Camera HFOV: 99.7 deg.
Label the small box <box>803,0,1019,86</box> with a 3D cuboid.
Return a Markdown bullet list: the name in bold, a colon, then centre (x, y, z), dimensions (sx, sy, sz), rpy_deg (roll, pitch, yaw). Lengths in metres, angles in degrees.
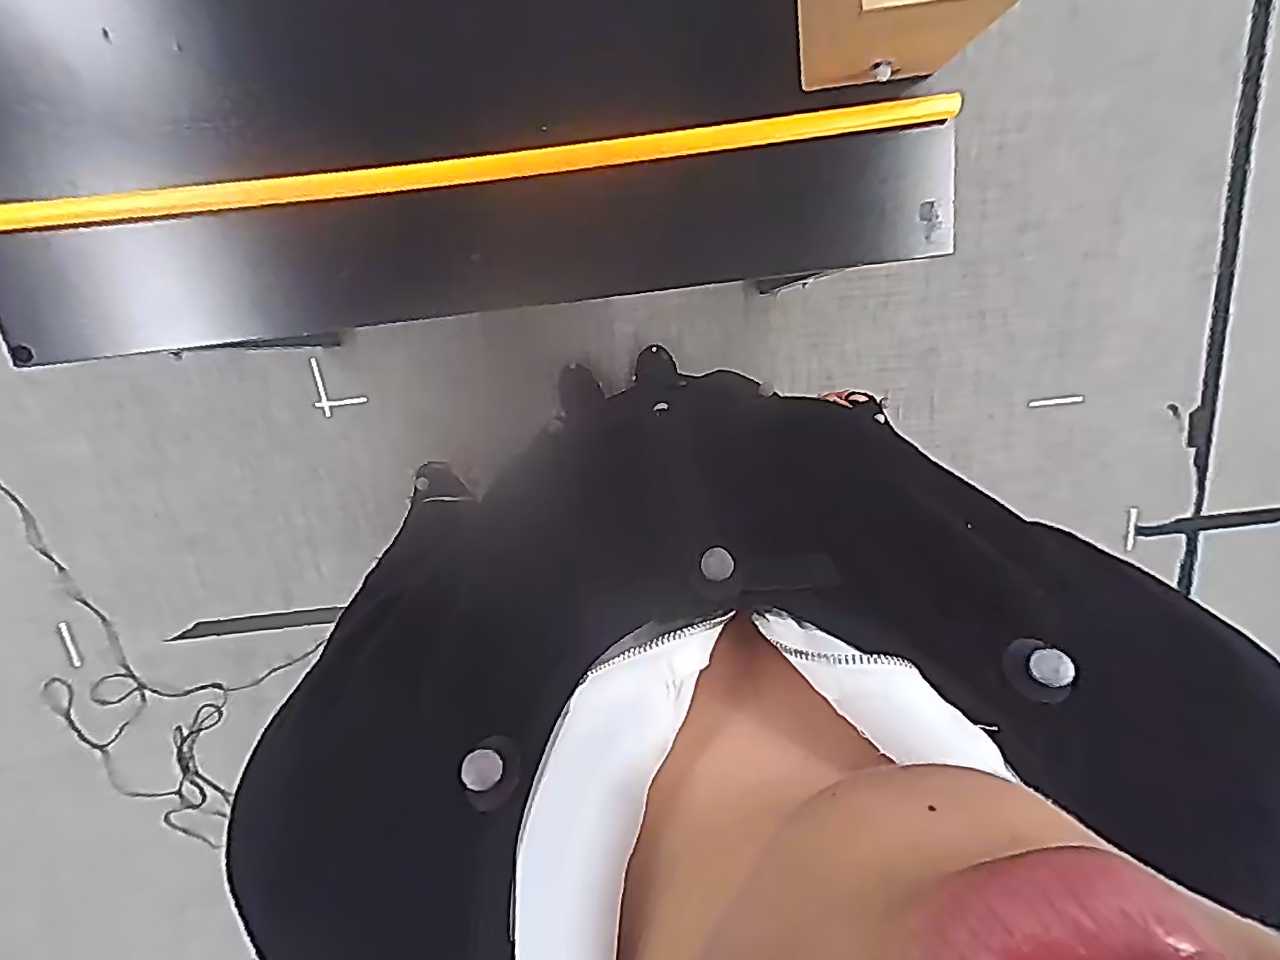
- **small box**: centre (0.272, -0.546, 0.553), dimensions (0.168, 0.176, 0.179), rpy_deg (-7, 105, 0)
